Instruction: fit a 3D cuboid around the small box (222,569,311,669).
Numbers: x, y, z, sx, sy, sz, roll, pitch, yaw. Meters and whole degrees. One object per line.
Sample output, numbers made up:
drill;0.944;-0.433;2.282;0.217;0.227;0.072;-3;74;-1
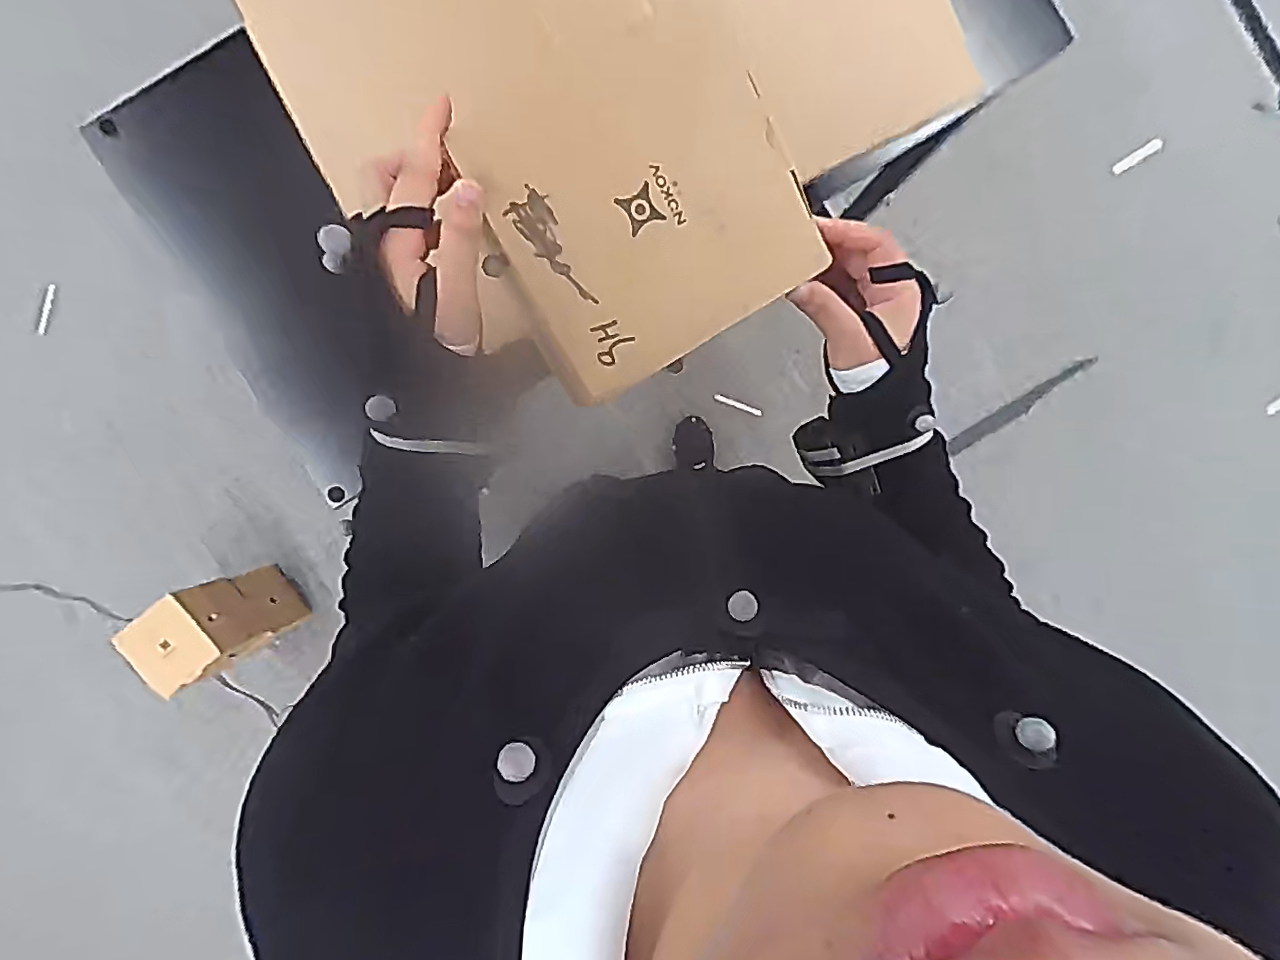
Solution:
small box;-1.016;0.350;1.411;0.168;0.176;0.179;-36;94;1

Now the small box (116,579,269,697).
small box;-1.017;0.353;1.247;0.168;0.176;0.179;-39;92;0
